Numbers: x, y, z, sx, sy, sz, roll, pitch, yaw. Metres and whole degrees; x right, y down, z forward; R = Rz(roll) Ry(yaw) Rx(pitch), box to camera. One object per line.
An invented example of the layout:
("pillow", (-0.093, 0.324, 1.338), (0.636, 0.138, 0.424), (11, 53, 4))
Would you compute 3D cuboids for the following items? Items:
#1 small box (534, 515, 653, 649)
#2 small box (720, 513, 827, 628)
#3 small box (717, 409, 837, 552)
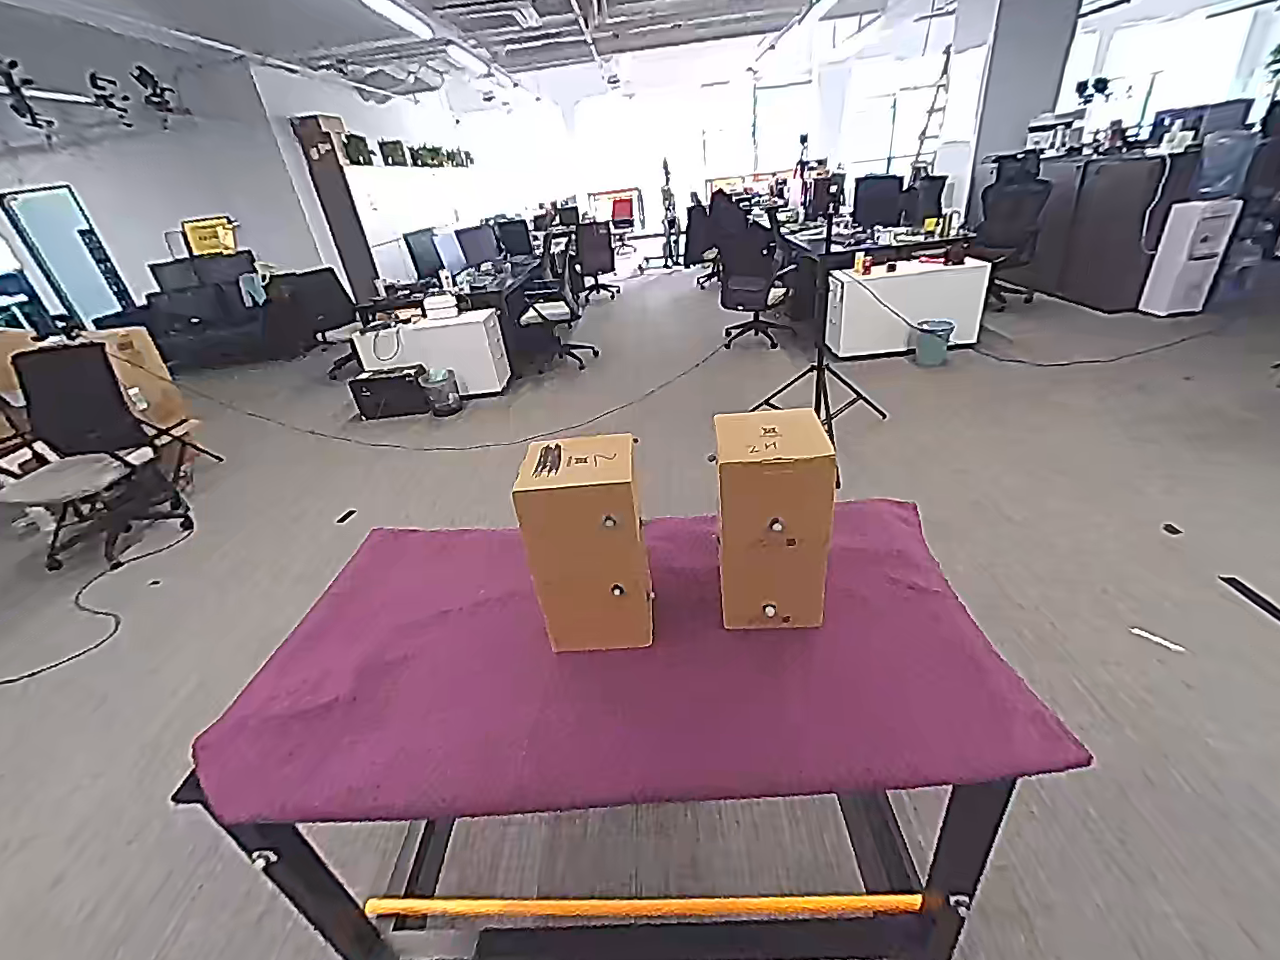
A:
("small box", (-0.073, 0.181, 0.960), (0.179, 0.176, 0.168), (-5, 29, 4))
("small box", (0.227, 0.141, 0.961), (0.168, 0.176, 0.179), (-3, 30, 7))
("small box", (0.212, -0.002, 0.878), (0.168, 0.176, 0.179), (-4, 30, 7))
